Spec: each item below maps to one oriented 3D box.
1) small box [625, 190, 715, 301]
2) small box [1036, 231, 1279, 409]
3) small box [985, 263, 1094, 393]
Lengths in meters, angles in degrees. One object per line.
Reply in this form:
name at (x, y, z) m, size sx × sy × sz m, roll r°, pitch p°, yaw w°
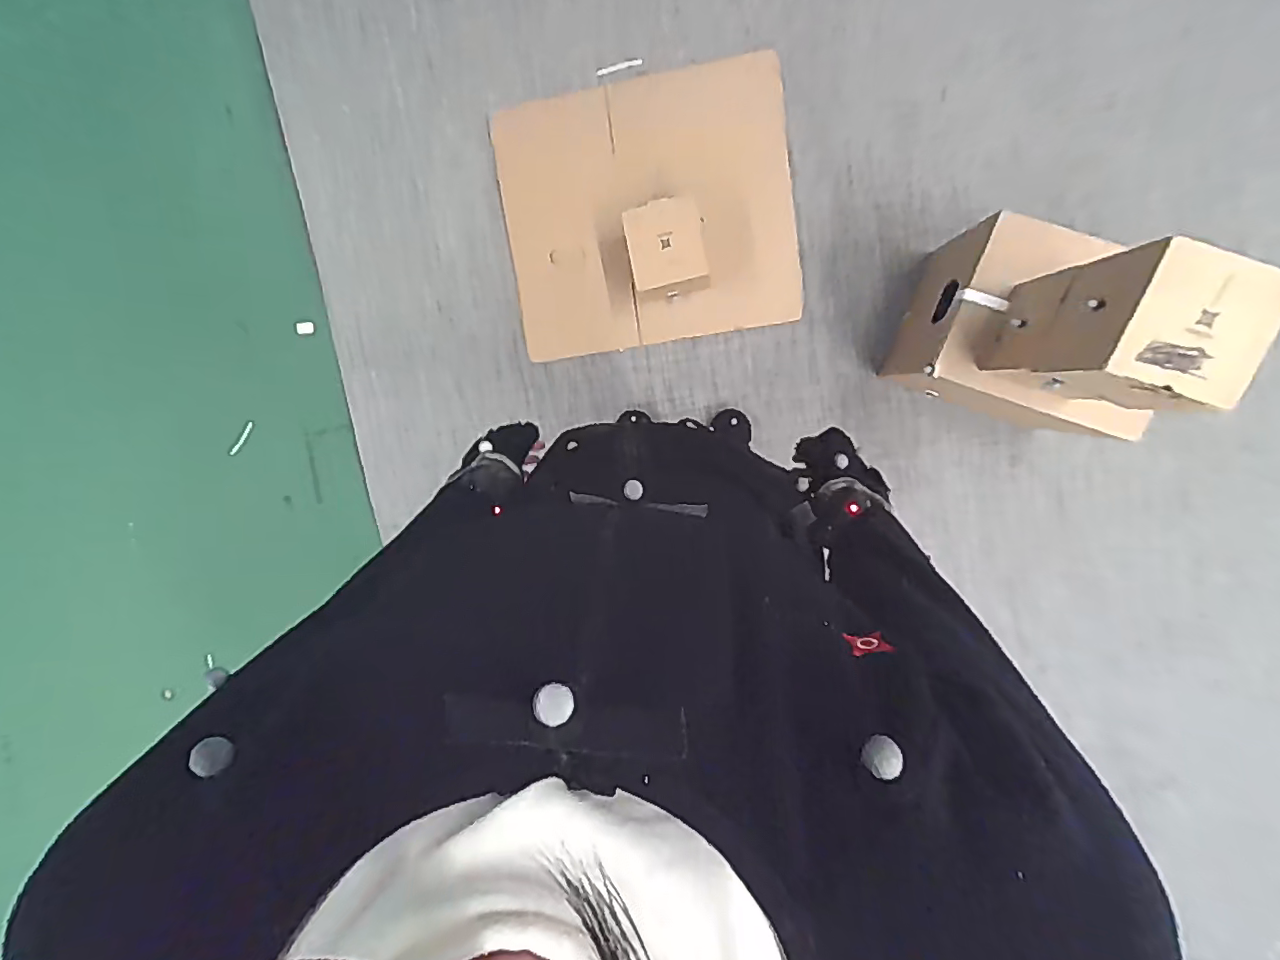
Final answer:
small box at (0.074, -0.528, 1.240) m, size 0.168 × 0.176 × 0.179 m, roll -11°, pitch 98°, yaw 12°
small box at (0.702, -0.210, 0.751) m, size 0.168 × 0.176 × 0.179 m, roll 21°, pitch 101°, yaw 3°
small box at (0.730, -0.244, 0.912) m, size 0.179 × 0.176 × 0.168 m, roll 15°, pitch 100°, yaw 3°
